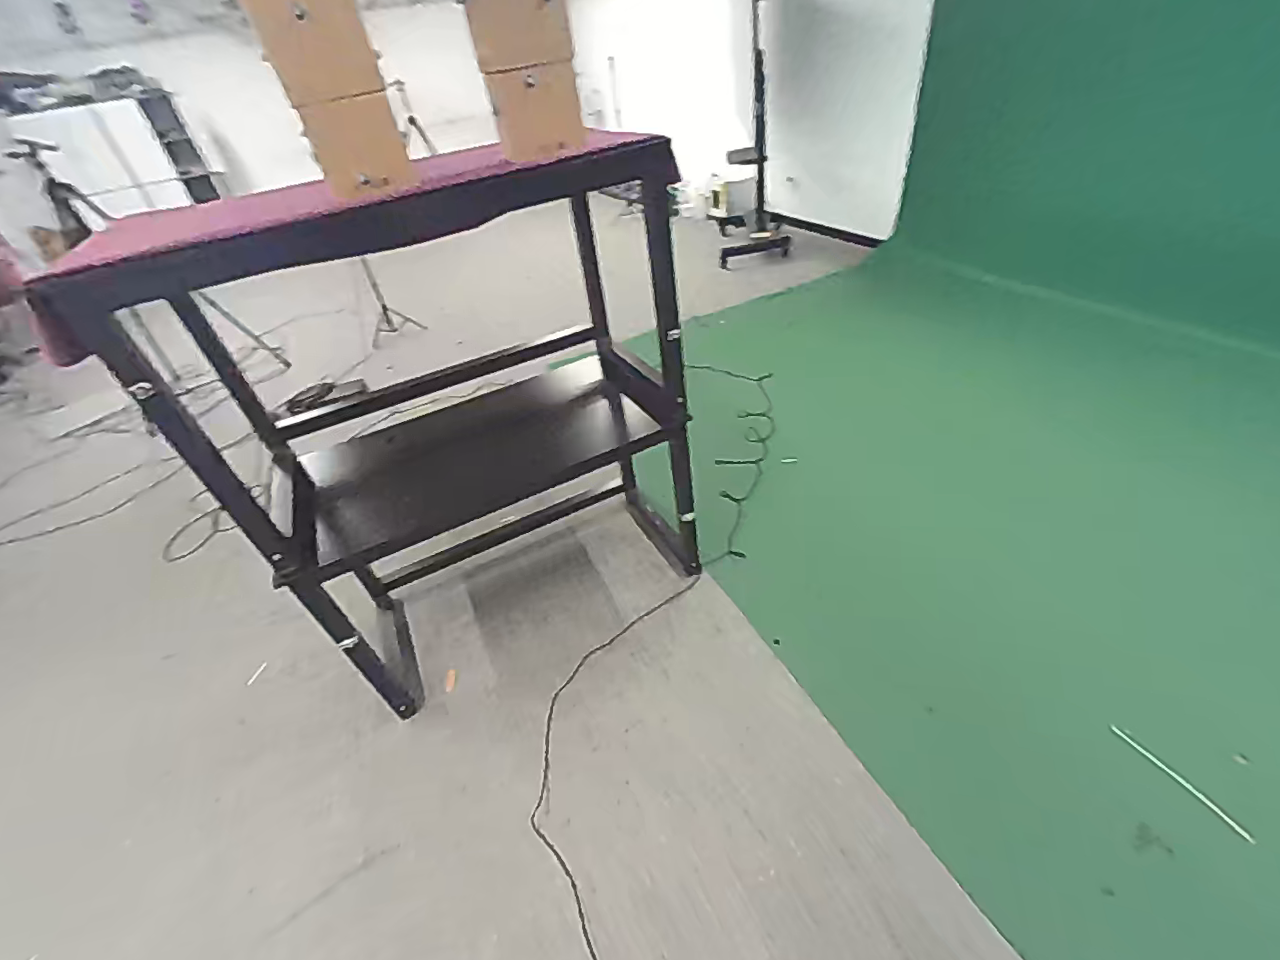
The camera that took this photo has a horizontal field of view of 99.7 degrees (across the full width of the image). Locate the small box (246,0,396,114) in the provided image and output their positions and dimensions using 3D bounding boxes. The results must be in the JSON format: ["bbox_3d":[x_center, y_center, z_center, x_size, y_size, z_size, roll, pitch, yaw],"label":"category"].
[{"bbox_3d":[-0.578,-0.788,0.999,0.179,0.176,0.168,-22,39,-14],"label":"small box"}]

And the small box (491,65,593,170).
[{"bbox_3d":[-0.219,-0.809,1.212,0.168,0.176,0.179,-21,40,-12],"label":"small box"}]

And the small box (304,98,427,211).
[{"bbox_3d":[-0.553,-0.663,1.104,0.168,0.176,0.179,-22,40,-13],"label":"small box"}]
